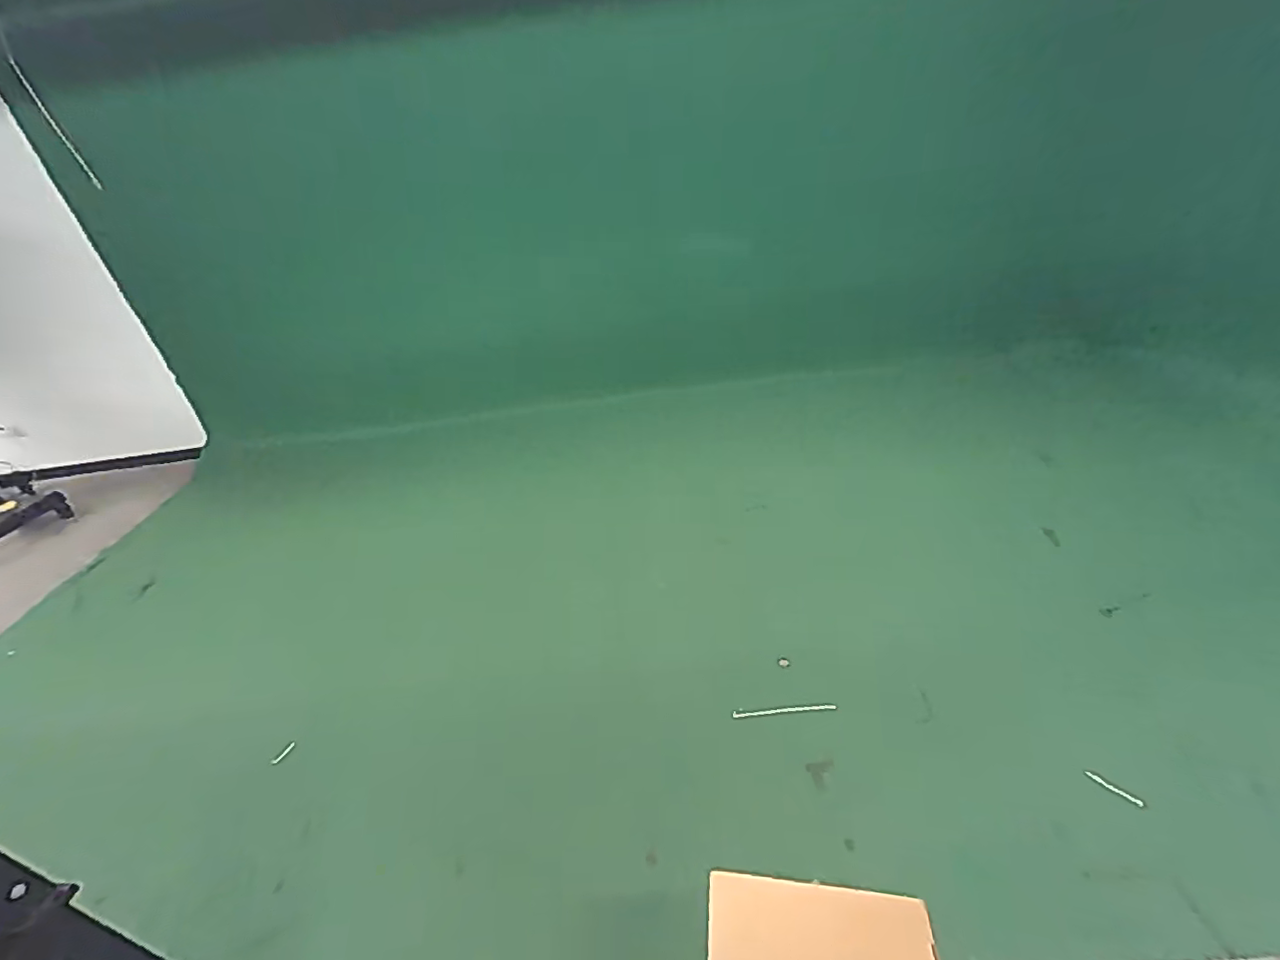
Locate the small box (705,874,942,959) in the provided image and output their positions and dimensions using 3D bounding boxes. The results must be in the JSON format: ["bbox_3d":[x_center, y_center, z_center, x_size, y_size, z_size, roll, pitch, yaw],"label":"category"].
[{"bbox_3d":[0.137,0.446,0.418,0.179,0.176,0.168,2,33,8],"label":"small box"}]
